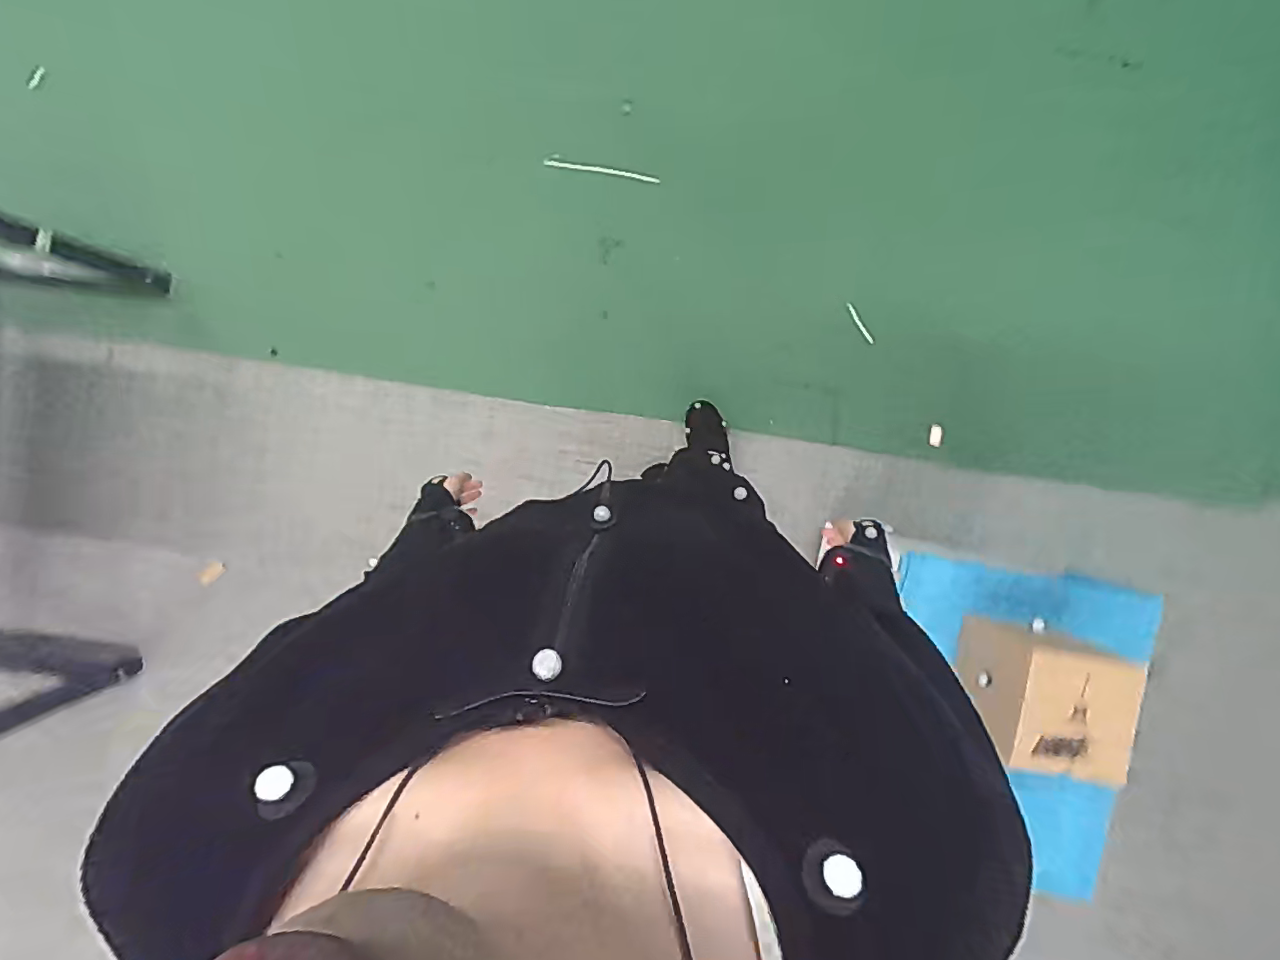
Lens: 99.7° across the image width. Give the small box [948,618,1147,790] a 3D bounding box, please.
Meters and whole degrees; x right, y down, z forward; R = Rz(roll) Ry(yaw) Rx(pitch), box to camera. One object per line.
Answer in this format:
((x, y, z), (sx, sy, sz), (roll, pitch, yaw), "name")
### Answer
((0.608, 0.332, 0.832), (0.168, 0.176, 0.179), (10, 92, 0), "small box")
